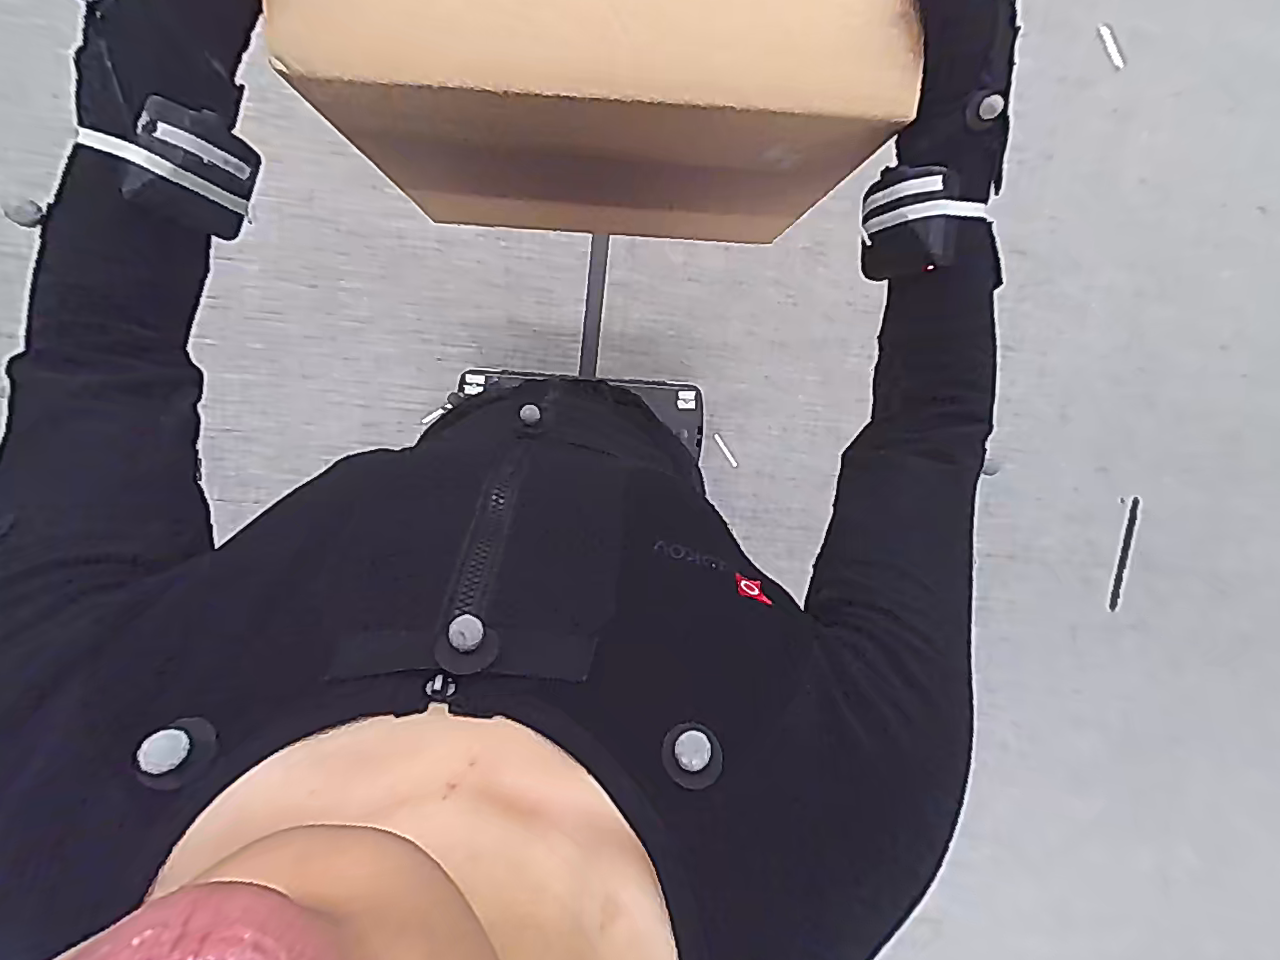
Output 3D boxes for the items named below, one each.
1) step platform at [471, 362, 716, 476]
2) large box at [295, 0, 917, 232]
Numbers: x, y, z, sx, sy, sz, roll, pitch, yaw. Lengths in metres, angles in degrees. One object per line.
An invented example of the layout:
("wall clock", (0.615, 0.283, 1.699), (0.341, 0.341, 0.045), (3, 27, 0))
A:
("step platform", (-0.127, -0.172, 1.547), (0.684, 0.204, 0.286), (3, 99, -5))
("large box", (-0.023, -0.428, 0.473), (0.408, 0.320, 0.320), (1, 101, -5))
